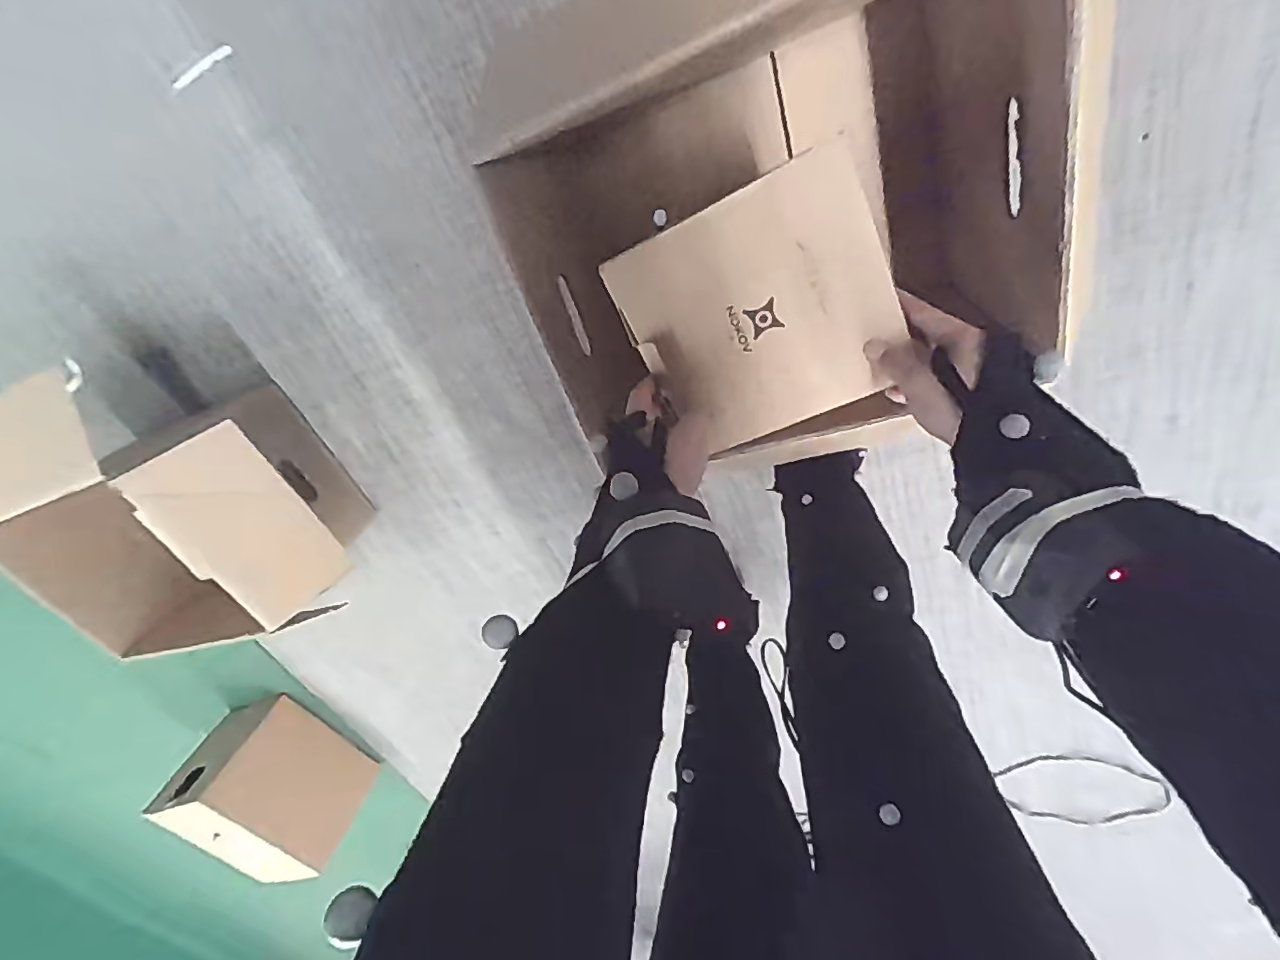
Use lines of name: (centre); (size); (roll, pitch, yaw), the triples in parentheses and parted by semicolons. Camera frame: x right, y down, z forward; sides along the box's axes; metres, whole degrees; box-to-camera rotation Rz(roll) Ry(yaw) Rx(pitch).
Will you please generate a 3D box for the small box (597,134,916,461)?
small box: (0.094, -0.146, 0.442); (0.179, 0.176, 0.168); (-22, 113, 21)
